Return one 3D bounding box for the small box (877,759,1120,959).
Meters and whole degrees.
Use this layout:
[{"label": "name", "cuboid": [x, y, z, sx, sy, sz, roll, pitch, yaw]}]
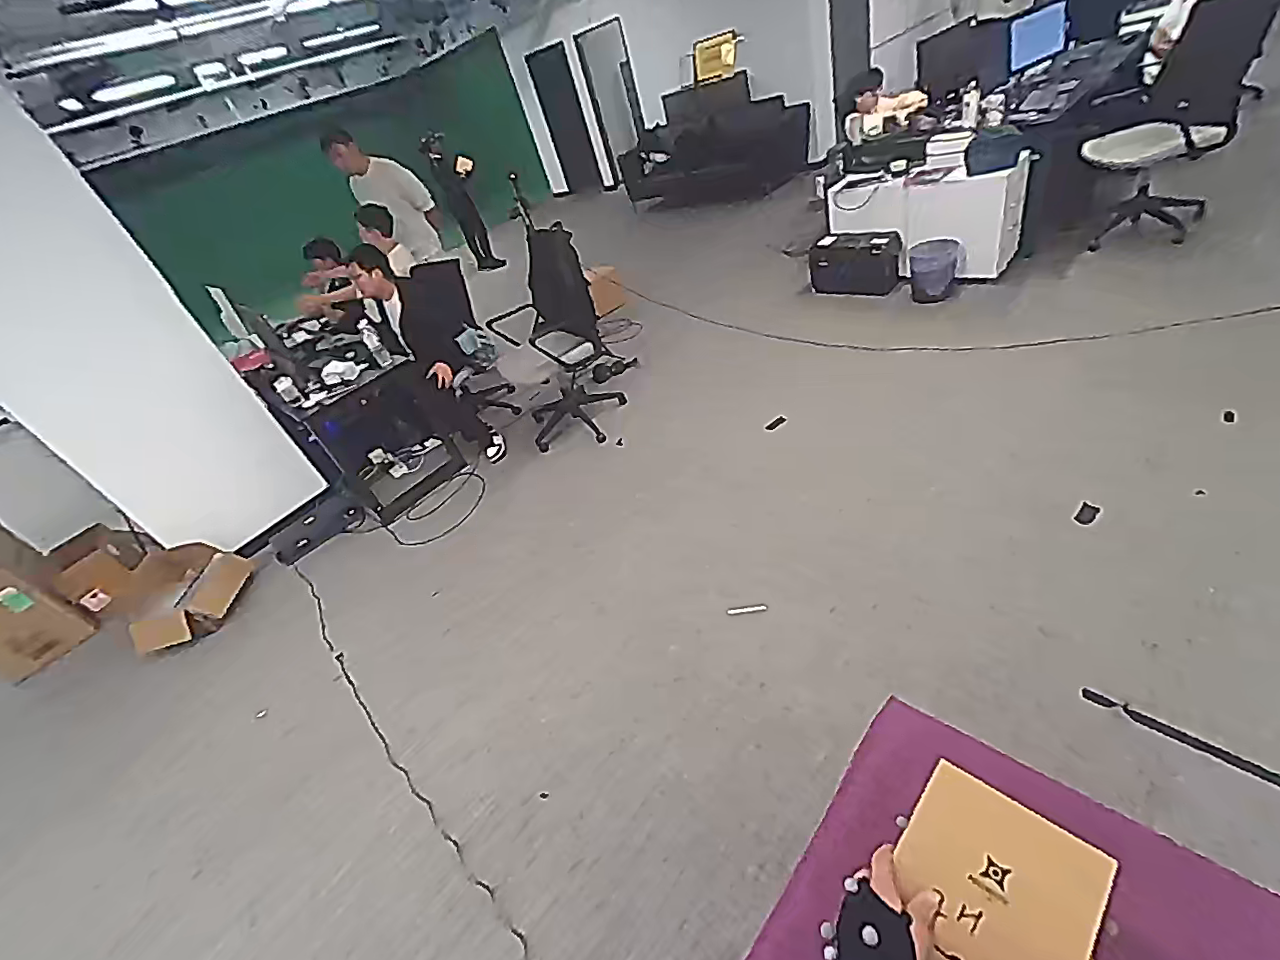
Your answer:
[{"label": "small box", "cuboid": [0.376, 0.457, 0.589, 0.168, 0.176, 0.179, 22, 54, 42]}]
